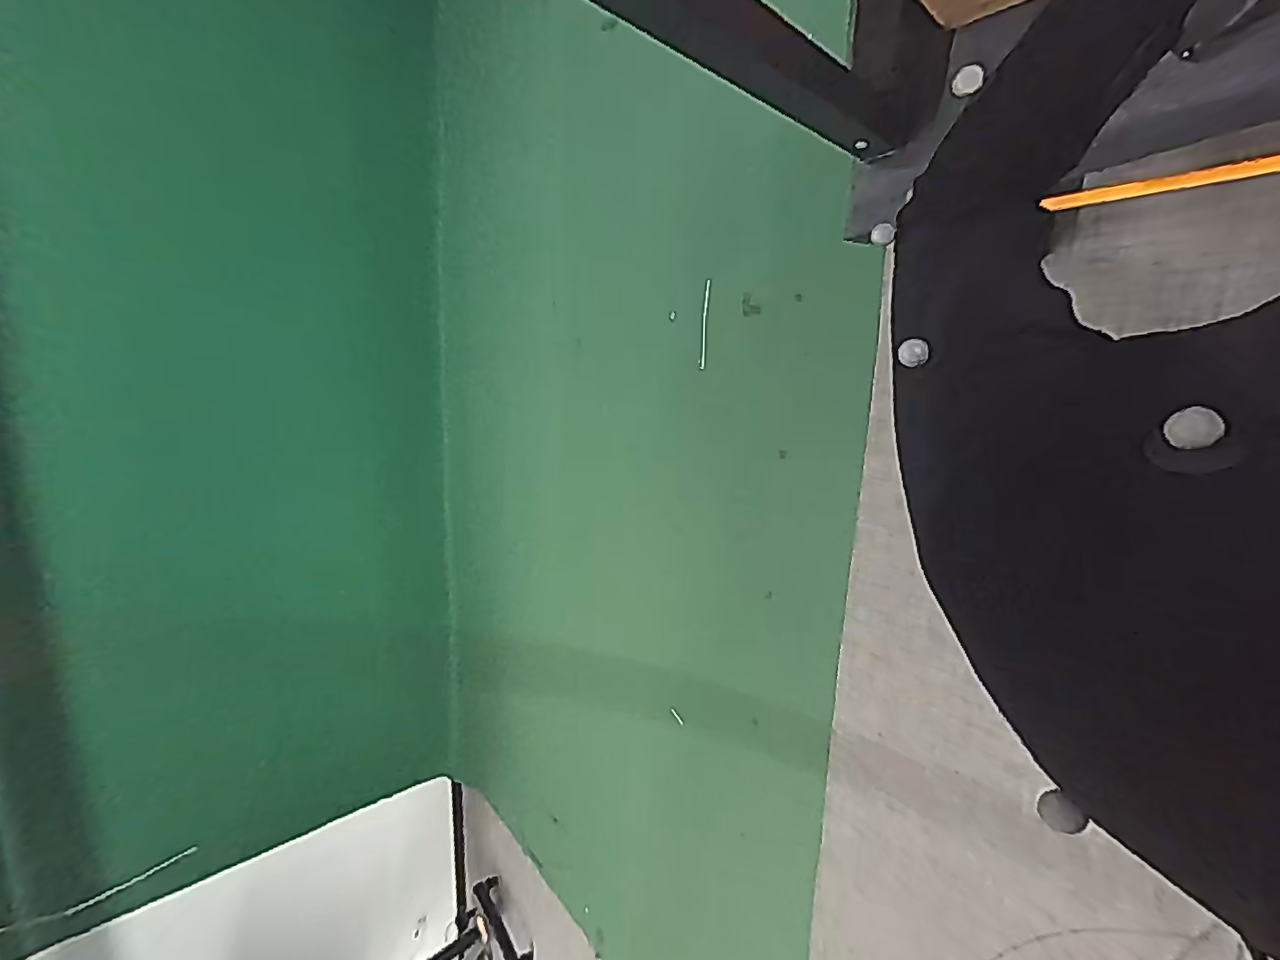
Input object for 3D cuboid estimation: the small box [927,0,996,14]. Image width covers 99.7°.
[{"bbox_3d":[0.378,-0.627,0.551,0.168,0.176,0.179,16,107,46],"label":"small box"}]
